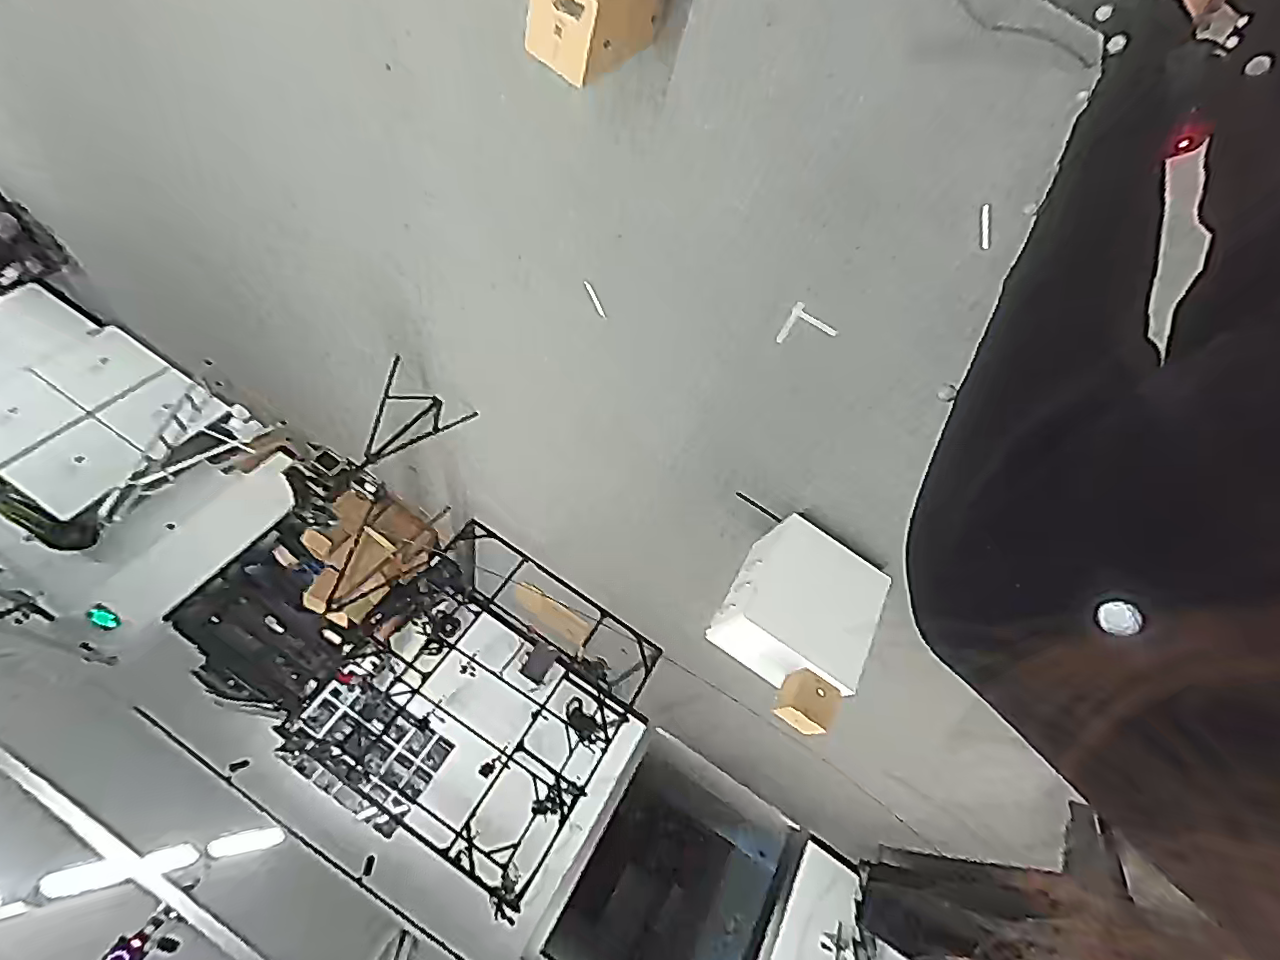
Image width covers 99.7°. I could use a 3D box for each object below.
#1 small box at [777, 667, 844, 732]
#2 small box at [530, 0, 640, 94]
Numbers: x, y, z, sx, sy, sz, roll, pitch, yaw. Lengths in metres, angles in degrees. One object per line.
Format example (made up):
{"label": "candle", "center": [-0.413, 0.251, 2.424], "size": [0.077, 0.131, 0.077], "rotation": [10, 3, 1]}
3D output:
{"label": "small box", "center": [0.673, 0.863, 2.124], "size": [0.168, 0.176, 0.179], "rotation": [34, 150, 4]}
{"label": "small box", "center": [-0.122, -1.030, 1.215], "size": [0.168, 0.176, 0.179], "rotation": [37, 151, 1]}
